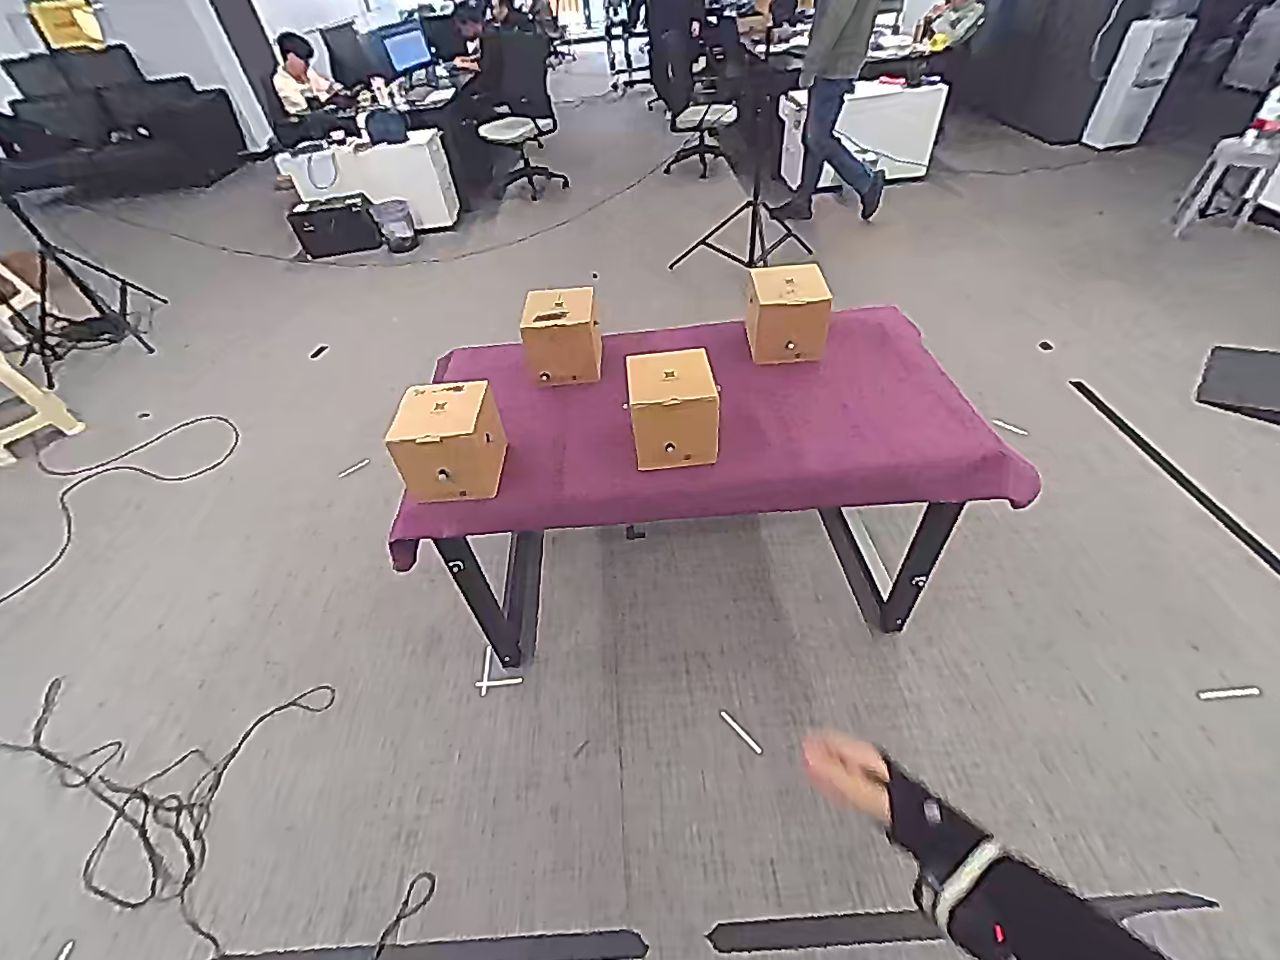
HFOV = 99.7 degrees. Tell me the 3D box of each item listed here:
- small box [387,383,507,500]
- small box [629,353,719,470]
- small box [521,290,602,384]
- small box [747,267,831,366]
[{"bbox_3d":[-0.377,-0.072,1.095,0.168,0.176,0.179,-4,45,1],"label":"small box"},{"bbox_3d":[0.066,-0.142,1.120,0.168,0.176,0.179,-6,44,0],"label":"small box"},{"bbox_3d":[-0.187,-0.352,1.353,0.168,0.176,0.179,-3,46,2],"label":"small box"},{"bbox_3d":[0.360,-0.404,1.342,0.168,0.176,0.179,-4,48,4],"label":"small box"}]
